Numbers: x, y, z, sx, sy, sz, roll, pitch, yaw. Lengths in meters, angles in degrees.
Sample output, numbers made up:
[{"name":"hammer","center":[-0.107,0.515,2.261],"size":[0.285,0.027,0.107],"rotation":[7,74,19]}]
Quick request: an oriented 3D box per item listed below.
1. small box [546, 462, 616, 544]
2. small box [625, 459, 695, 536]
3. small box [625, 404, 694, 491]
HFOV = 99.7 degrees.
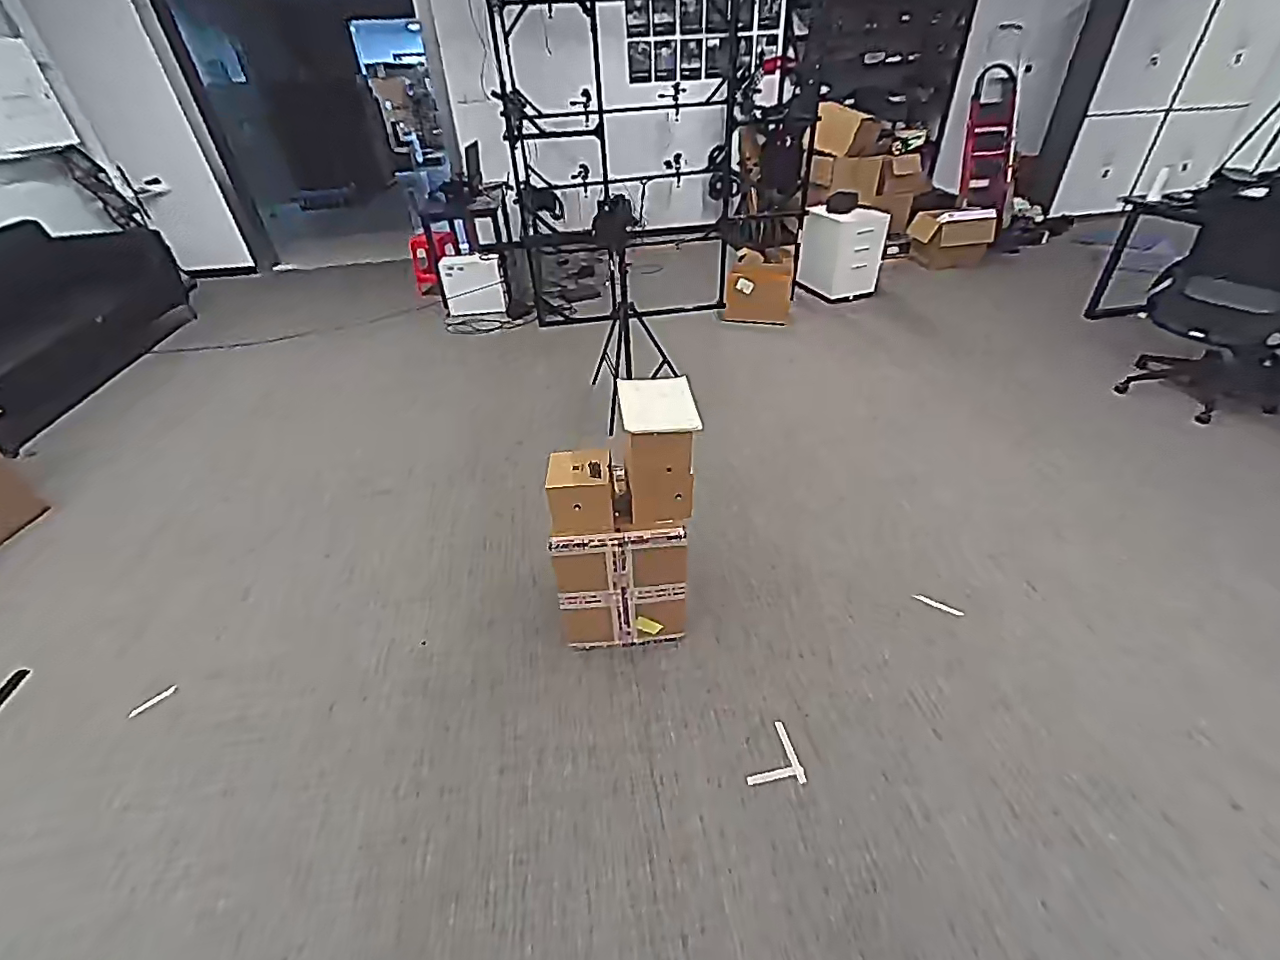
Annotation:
[{"name":"small box","center":[-0.162,0.067,1.560],"size":[0.179,0.176,0.168],"rotation":[-4,39,1]},{"name":"small box","center":[0.053,0.043,1.579],"size":[0.179,0.176,0.168],"rotation":[-7,38,-7]},{"name":"small box","center":[0.047,-0.090,1.485],"size":[0.168,0.176,0.179],"rotation":[-5,38,-6]}]
